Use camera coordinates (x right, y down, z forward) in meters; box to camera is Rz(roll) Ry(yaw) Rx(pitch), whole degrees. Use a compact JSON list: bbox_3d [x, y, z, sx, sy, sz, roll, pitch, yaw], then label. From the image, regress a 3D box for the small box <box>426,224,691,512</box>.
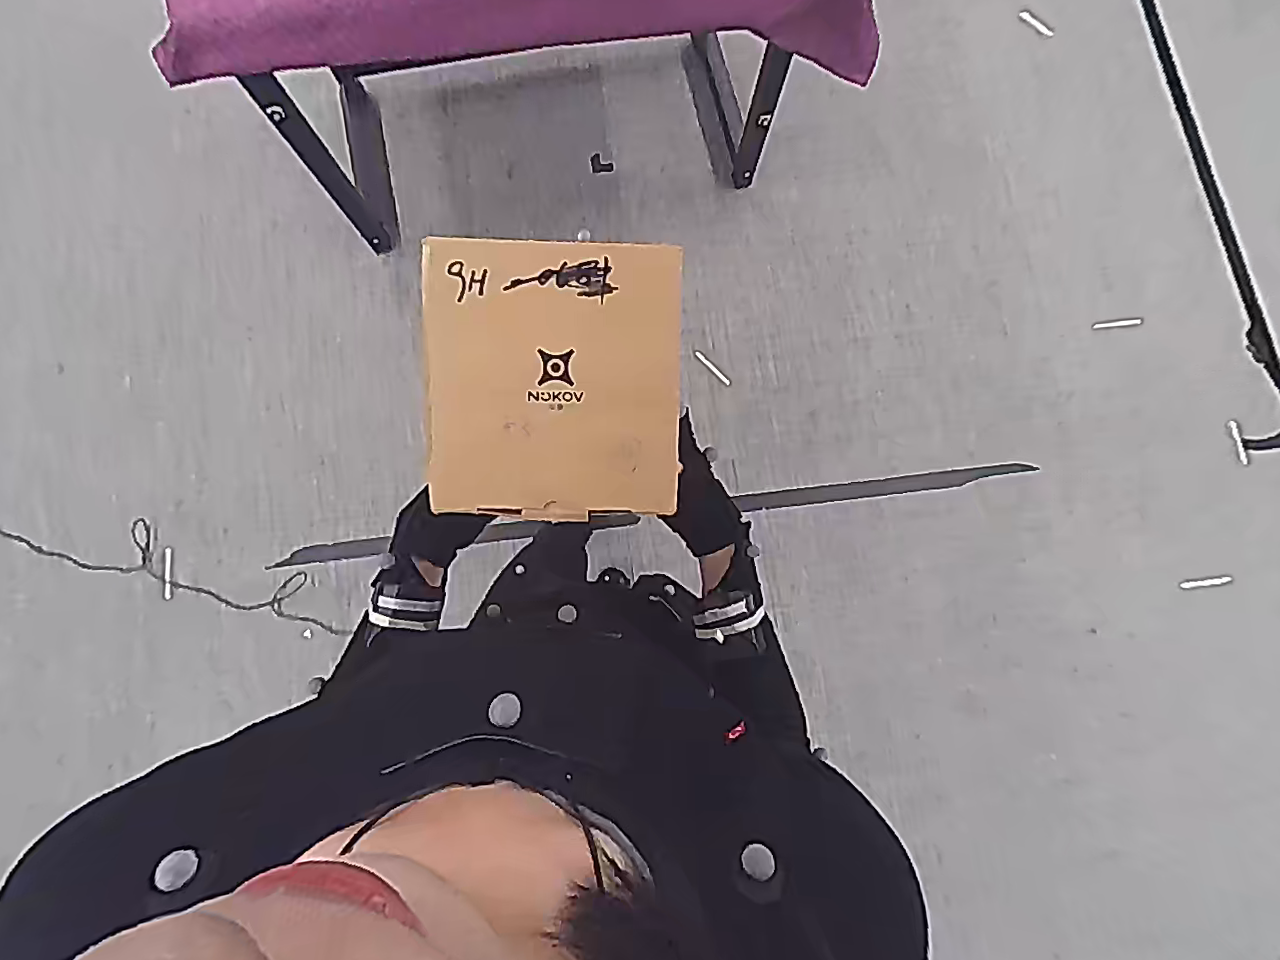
[{"bbox_3d":[-0.056,-0.078,0.422,0.168,0.176,0.179,1,97,-4],"label":"small box"}]
